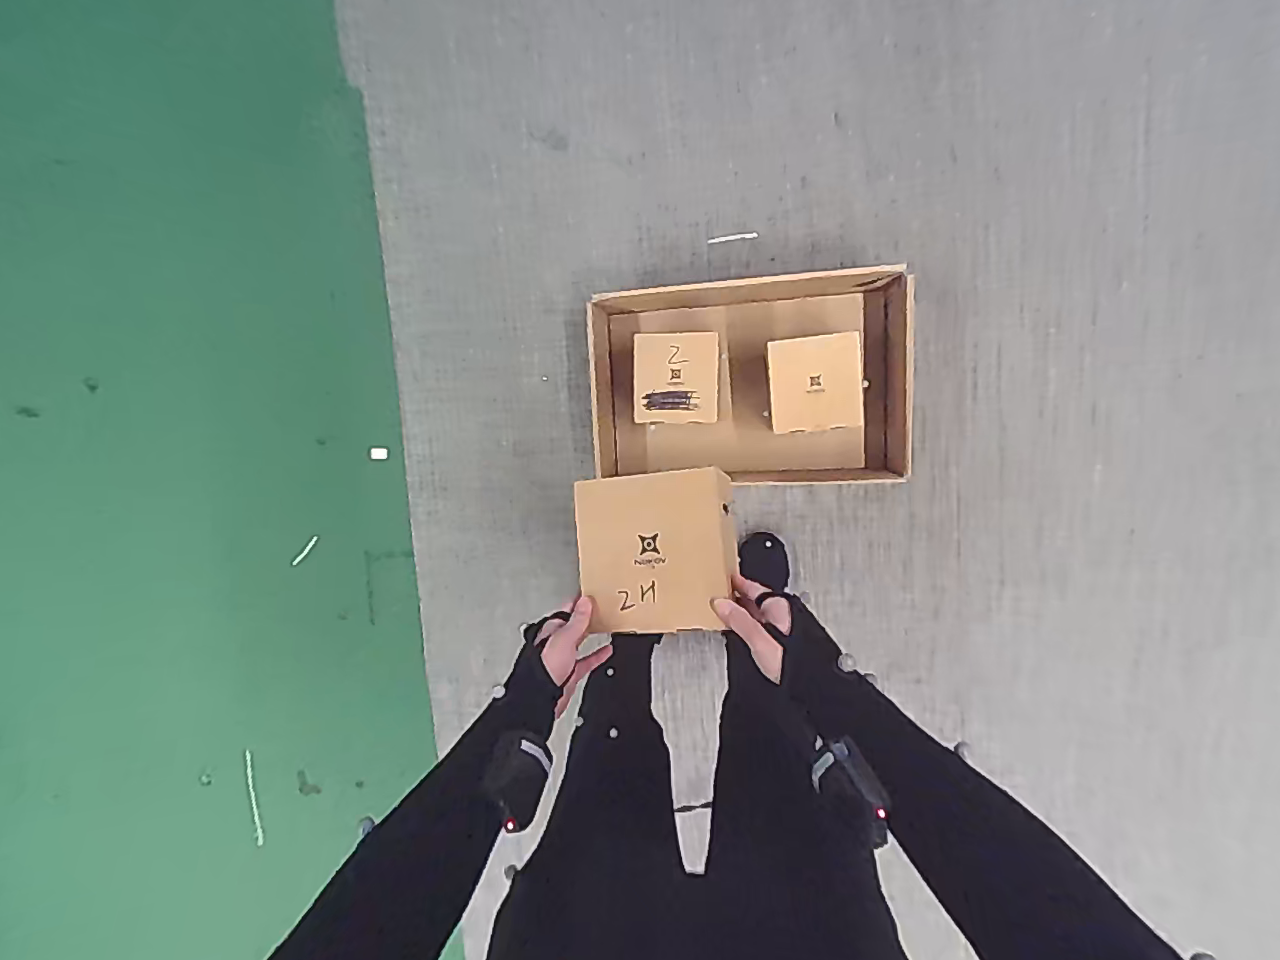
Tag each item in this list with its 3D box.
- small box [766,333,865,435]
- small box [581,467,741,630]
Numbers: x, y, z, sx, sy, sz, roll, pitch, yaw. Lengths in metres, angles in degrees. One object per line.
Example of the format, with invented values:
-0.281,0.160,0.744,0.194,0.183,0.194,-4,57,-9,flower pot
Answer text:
0.343,-0.185,1.080,0.168,0.176,0.179,-4,96,13,small box
0.033,0.083,0.676,0.168,0.176,0.179,-5,85,14,small box
